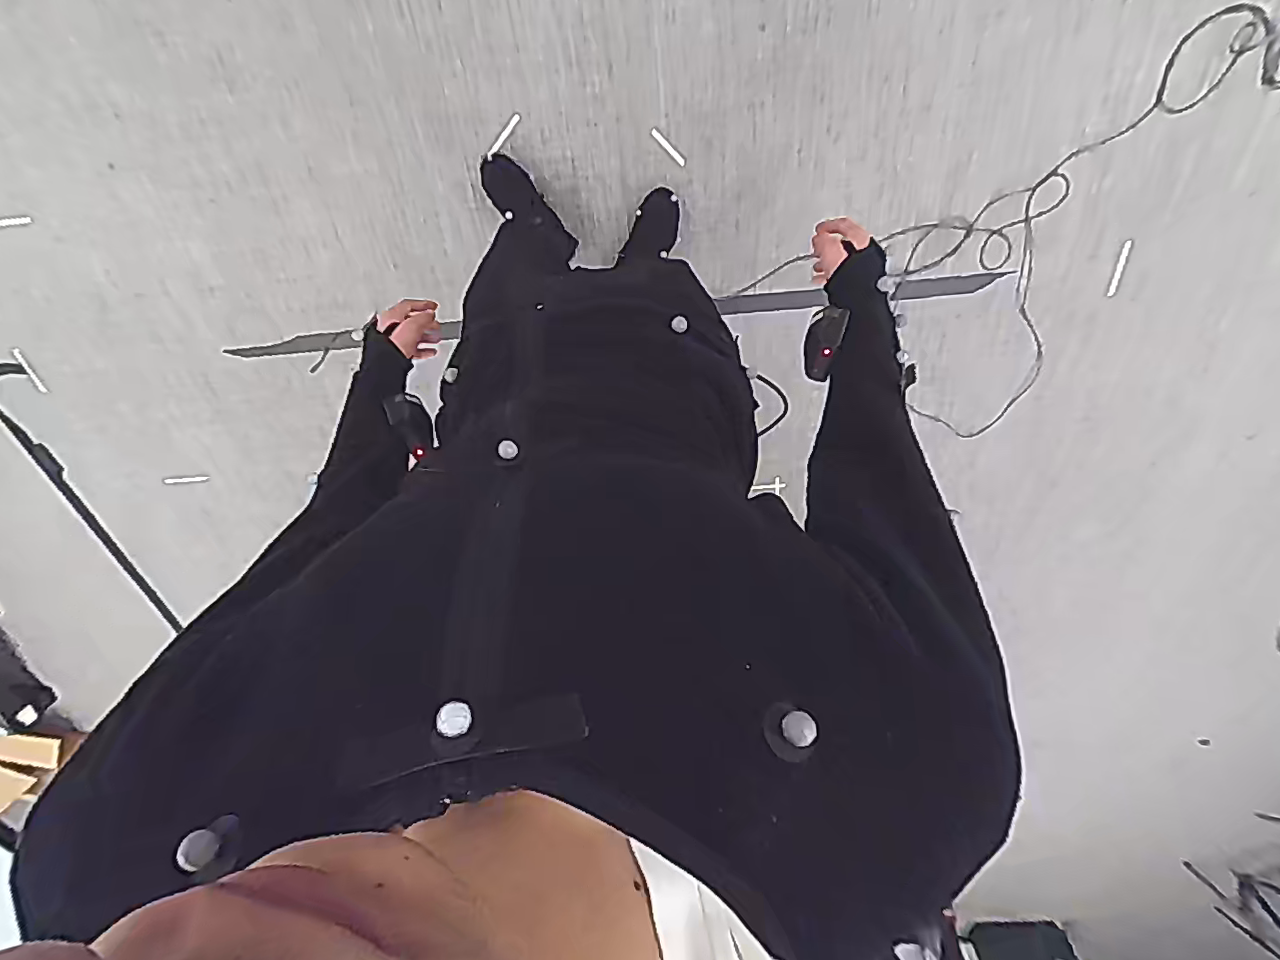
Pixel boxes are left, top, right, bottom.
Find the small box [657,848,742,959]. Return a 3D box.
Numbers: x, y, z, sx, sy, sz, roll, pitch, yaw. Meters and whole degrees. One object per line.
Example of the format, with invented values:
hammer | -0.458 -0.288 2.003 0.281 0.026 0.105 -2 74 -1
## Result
small box | 0.136 0.976 1.251 0.179 0.176 0.168 -6 123 6
